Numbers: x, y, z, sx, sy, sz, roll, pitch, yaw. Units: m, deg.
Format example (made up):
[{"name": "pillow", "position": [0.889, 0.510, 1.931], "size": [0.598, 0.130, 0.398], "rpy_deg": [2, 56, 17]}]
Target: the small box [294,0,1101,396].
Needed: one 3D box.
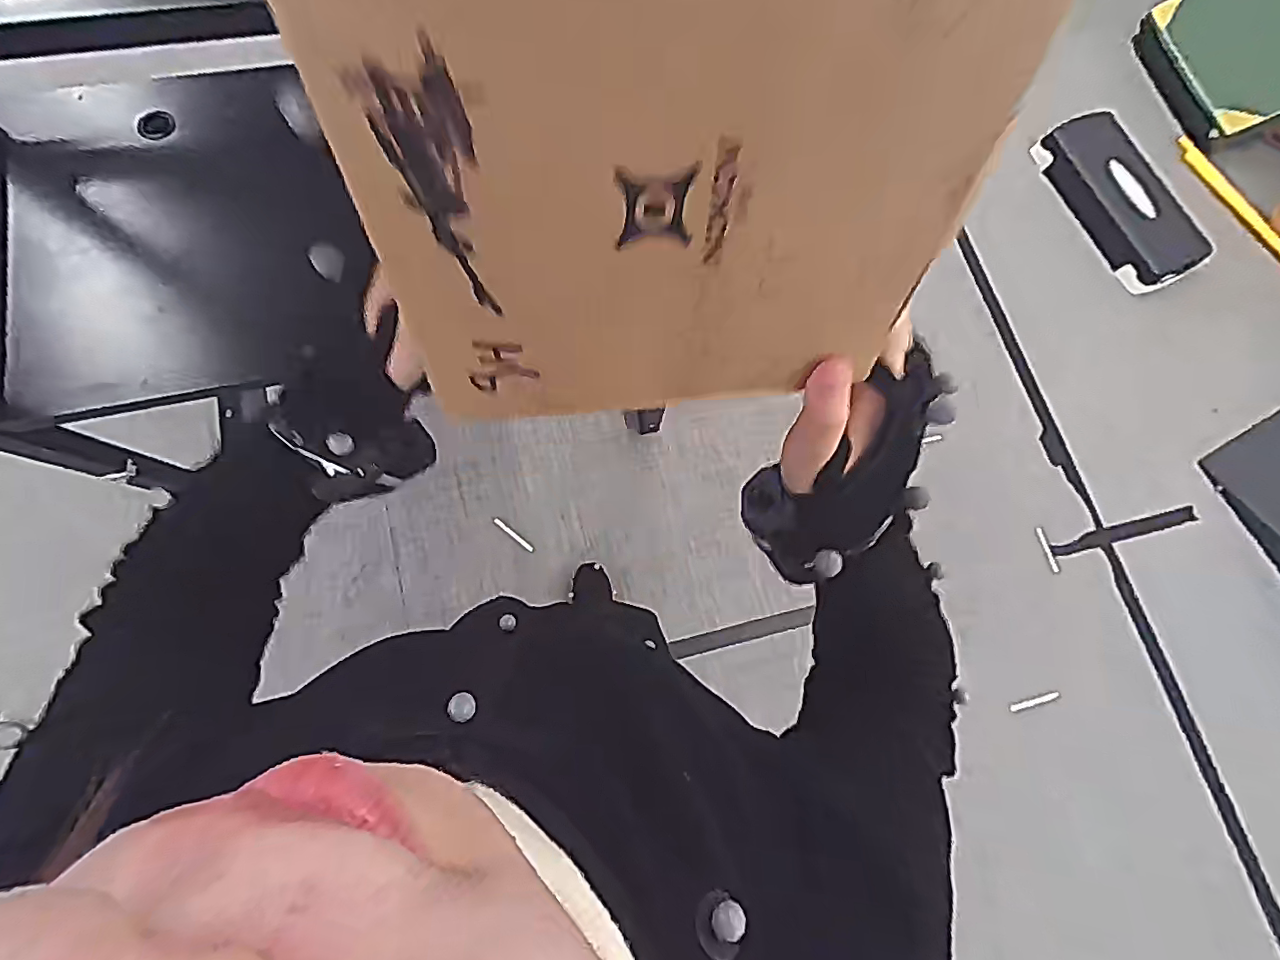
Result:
[{"name": "small box", "position": [0.006, -0.151, 0.178], "size": [0.179, 0.168, 0.176], "rpy_deg": [-7, 58, -6]}]
